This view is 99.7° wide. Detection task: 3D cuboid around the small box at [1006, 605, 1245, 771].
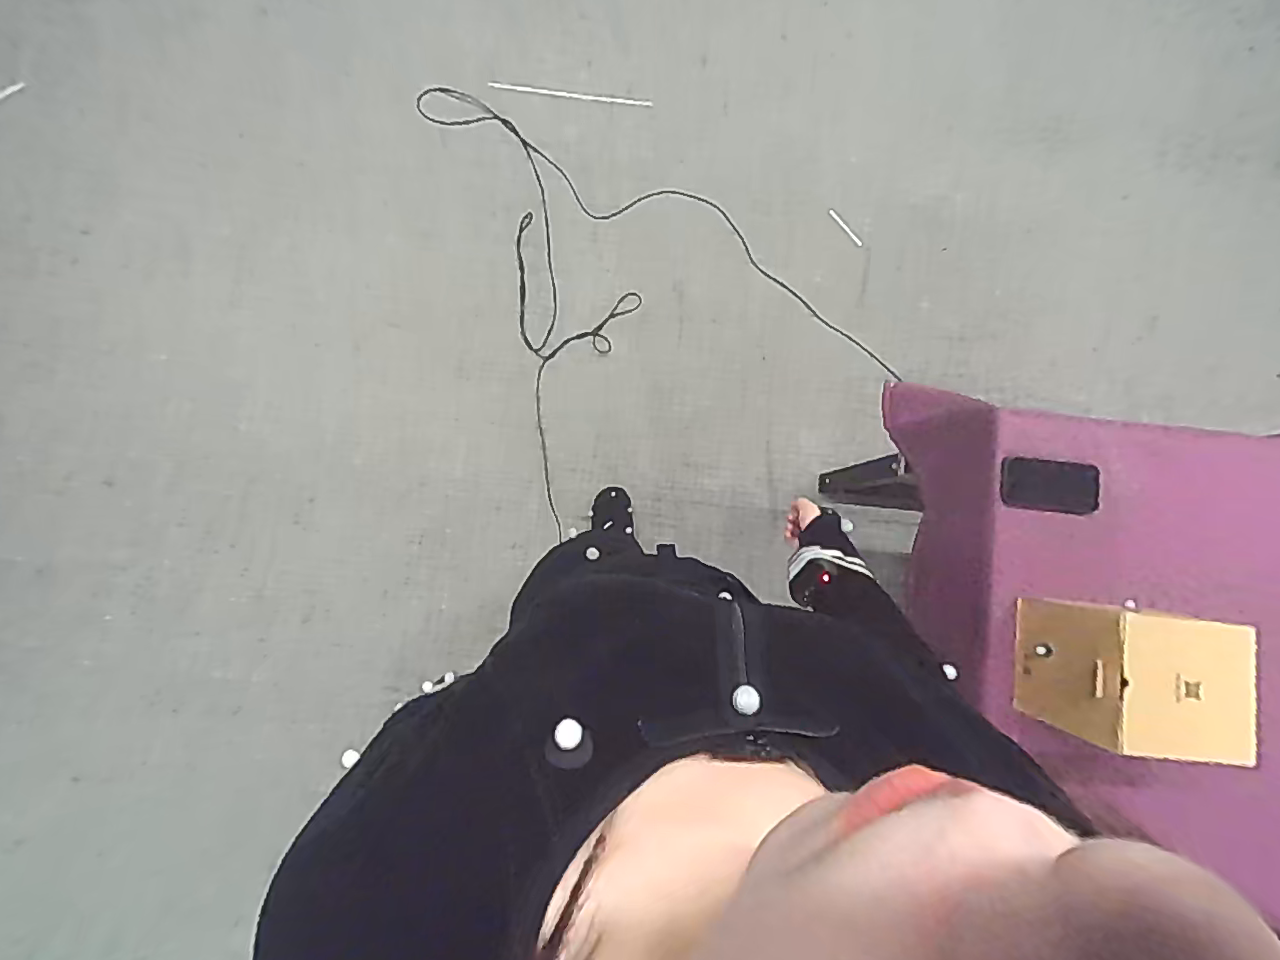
[{"bbox_3d":[0.645,0.269,0.734,0.179,0.176,0.168,7,84,-4],"label":"small box"}]
